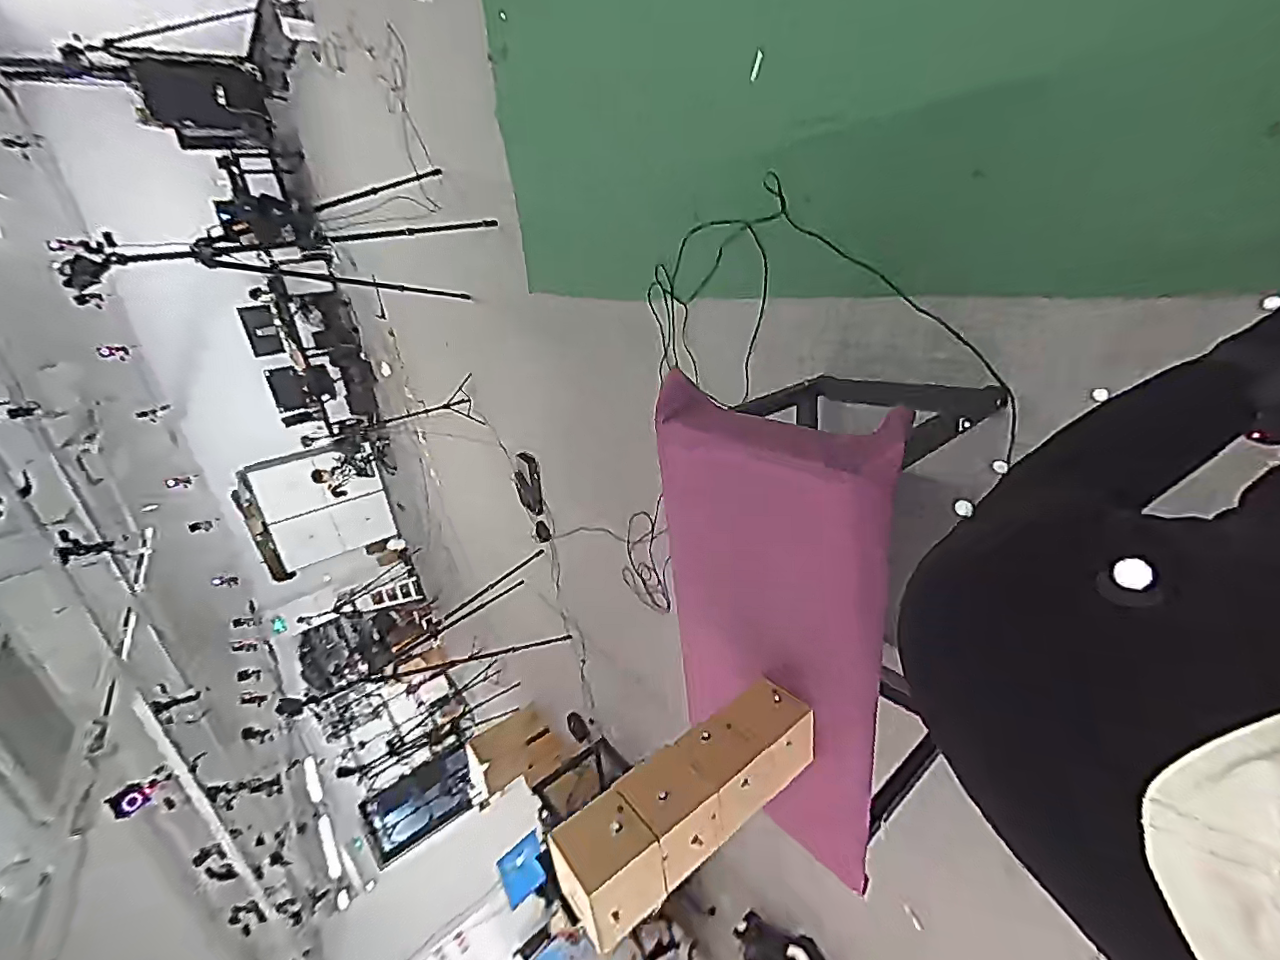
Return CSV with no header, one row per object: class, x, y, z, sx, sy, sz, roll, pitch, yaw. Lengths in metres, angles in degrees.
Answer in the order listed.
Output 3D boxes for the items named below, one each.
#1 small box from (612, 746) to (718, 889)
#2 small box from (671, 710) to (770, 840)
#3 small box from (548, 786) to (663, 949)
small box,0.062,0.739,1.208,0.179,0.176,0.168,20,123,50
small box,0.194,0.690,1.290,0.168,0.176,0.179,21,125,50
small box,-0.067,0.788,1.117,0.168,0.176,0.179,20,123,51
